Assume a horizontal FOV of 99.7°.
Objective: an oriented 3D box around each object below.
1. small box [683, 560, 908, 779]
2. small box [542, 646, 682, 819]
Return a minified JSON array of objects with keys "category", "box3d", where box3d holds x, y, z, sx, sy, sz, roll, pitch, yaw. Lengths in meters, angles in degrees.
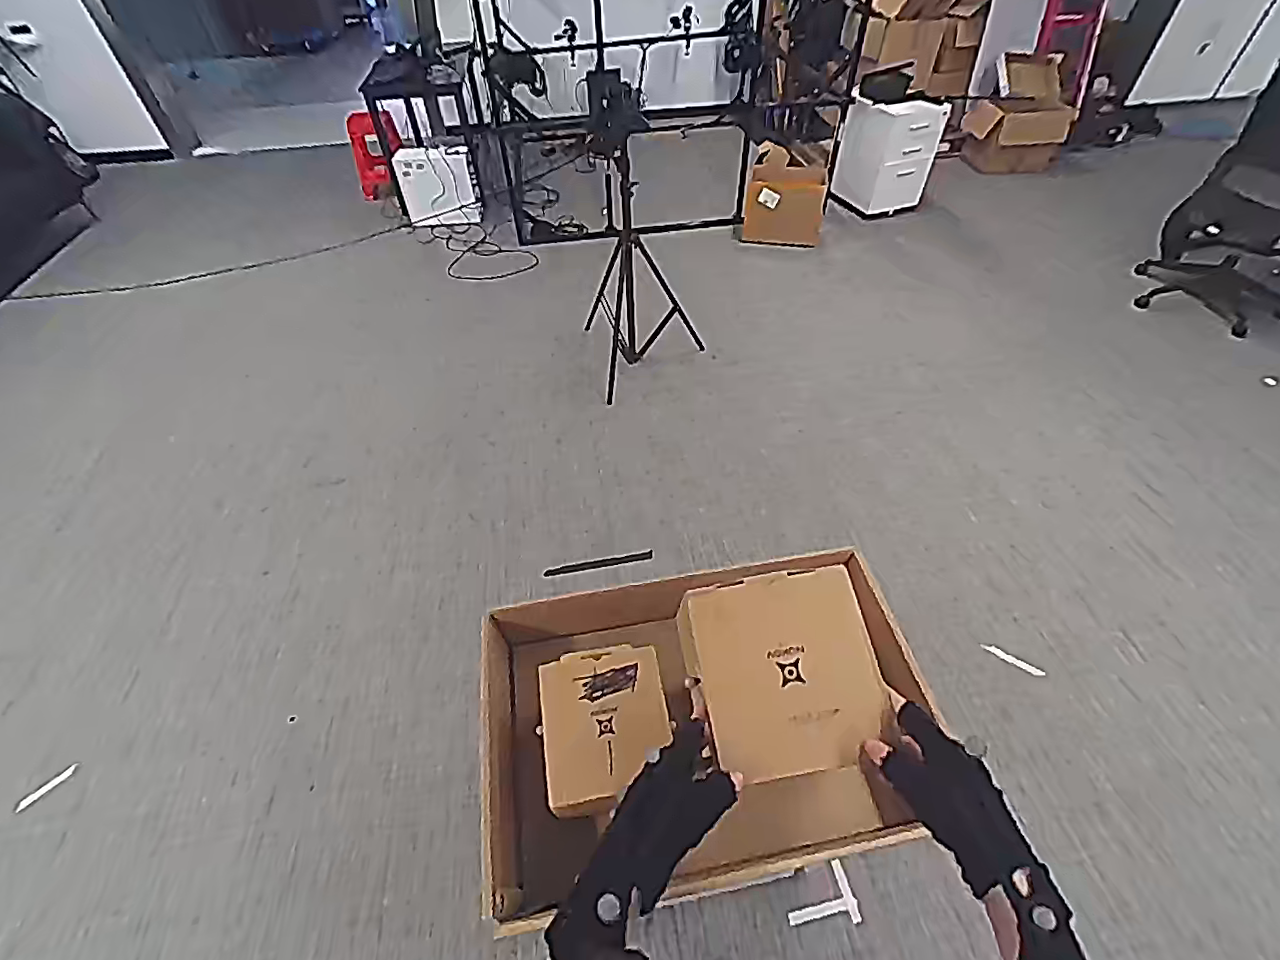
[{"category":"small box","box3d":[0.145,0.202,0.581,0.168,0.176,0.179,-10,67,-3]},{"category":"small box","box3d":[-0.043,0.362,0.771,0.168,0.176,0.179,-9,54,-6]}]
